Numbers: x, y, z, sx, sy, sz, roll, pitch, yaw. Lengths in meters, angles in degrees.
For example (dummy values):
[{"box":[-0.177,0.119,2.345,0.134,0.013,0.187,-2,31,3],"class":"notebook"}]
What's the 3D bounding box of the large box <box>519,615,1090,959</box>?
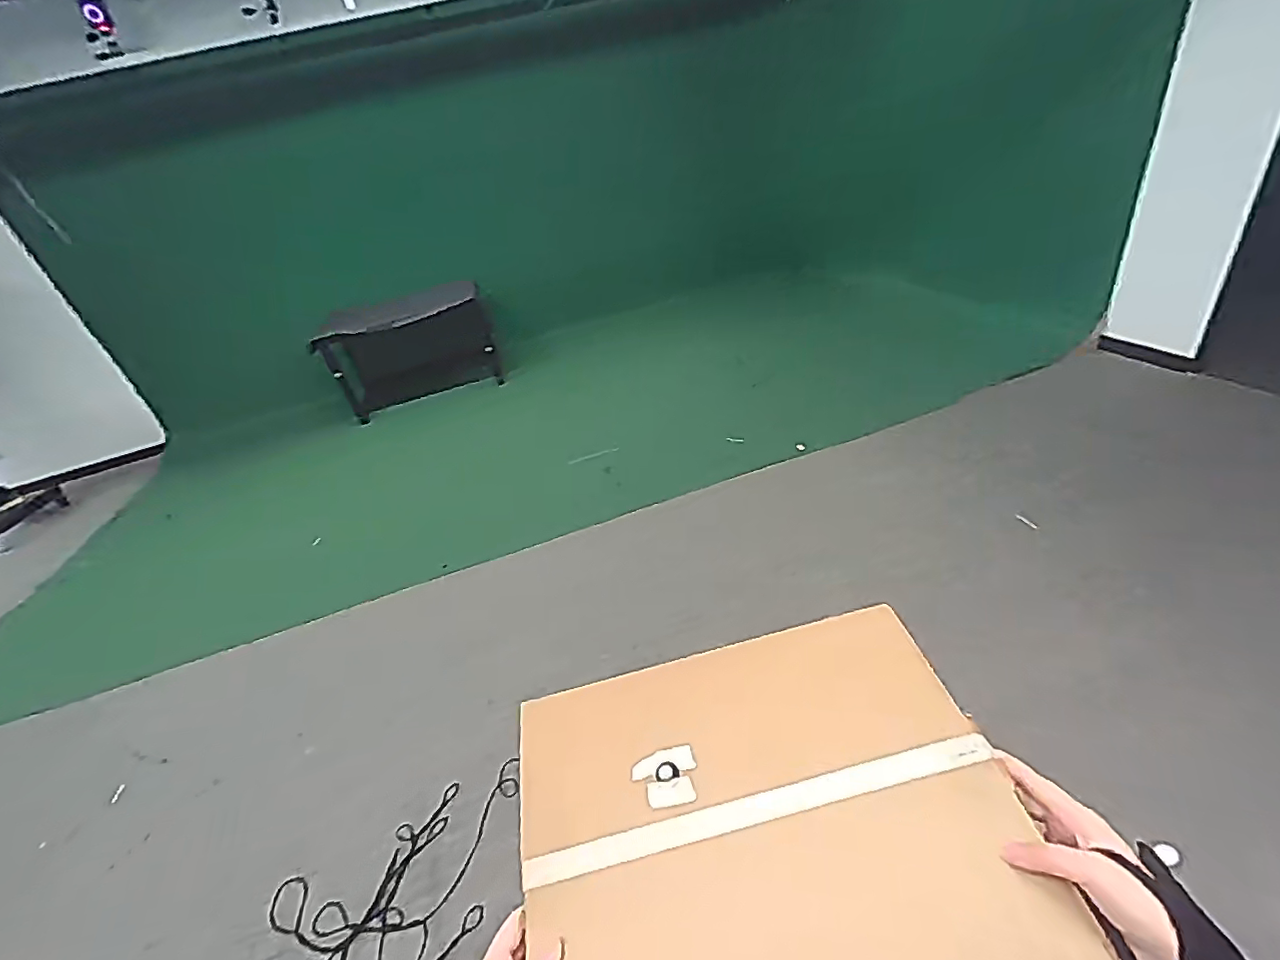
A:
[{"box":[0.123,0.403,0.564,0.408,0.320,0.320,-17,41,0],"class":"large box"}]
